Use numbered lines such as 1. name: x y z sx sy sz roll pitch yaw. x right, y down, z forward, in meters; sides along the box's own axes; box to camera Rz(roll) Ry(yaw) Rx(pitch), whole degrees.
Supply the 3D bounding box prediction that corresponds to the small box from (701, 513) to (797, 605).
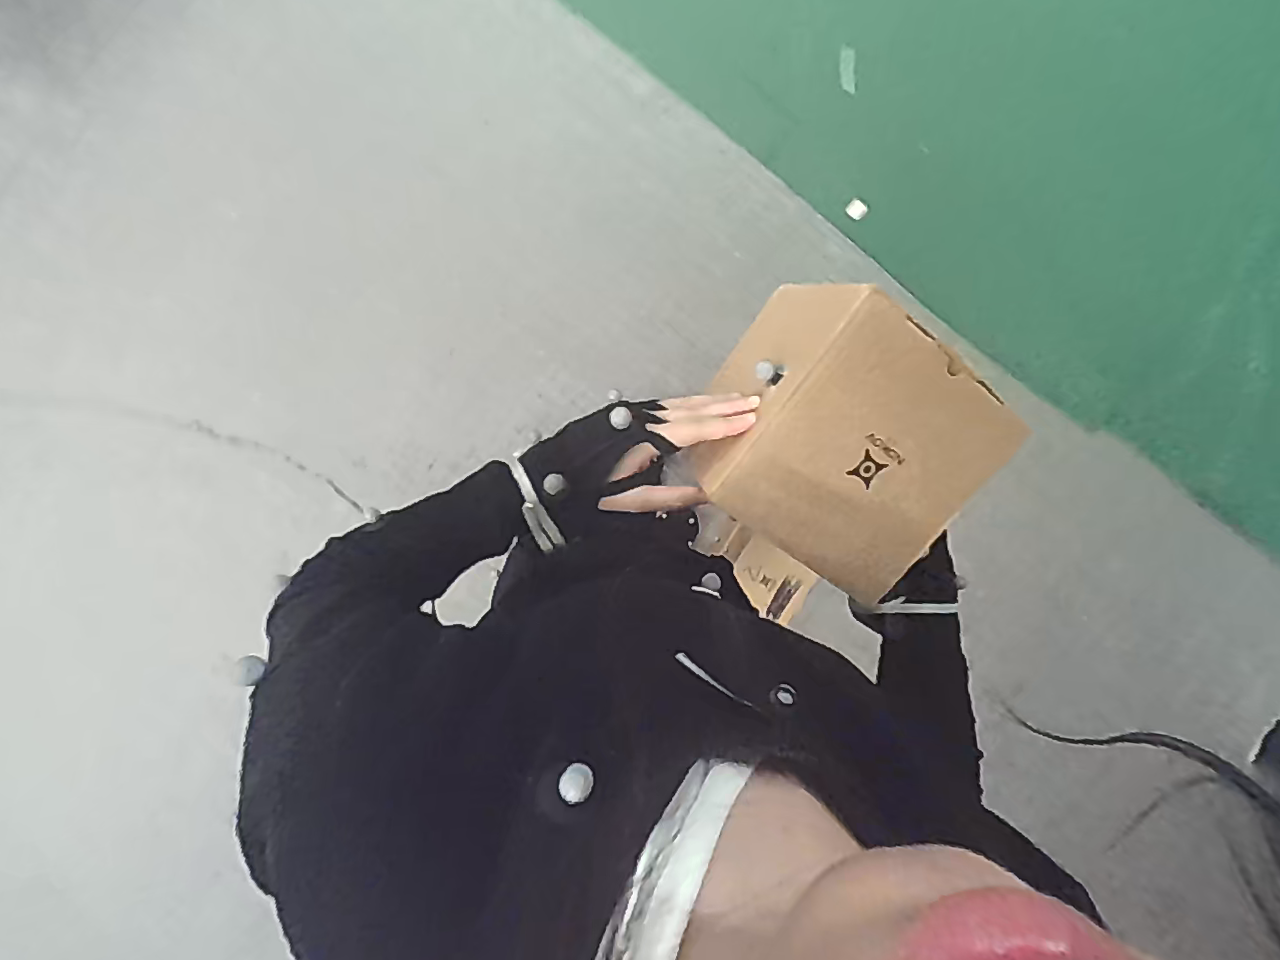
1. small box: 0.278 0.199 1.429 0.179 0.176 0.168 33 93 -1
